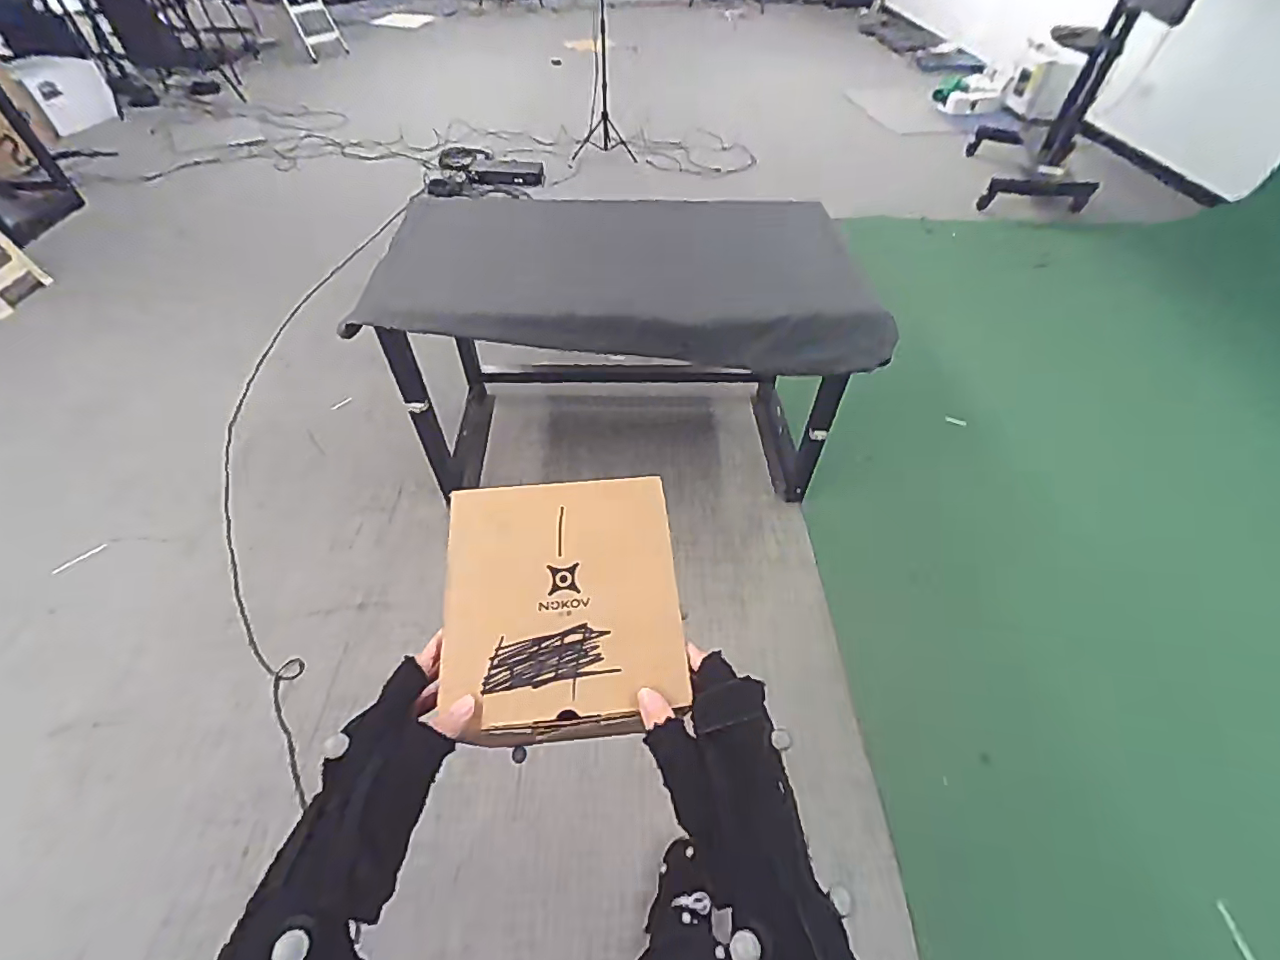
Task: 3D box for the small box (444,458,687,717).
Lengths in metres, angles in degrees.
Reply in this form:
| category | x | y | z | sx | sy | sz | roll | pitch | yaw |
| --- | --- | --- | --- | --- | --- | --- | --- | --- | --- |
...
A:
| category | x | y | z | sx | sy | sz | roll | pitch | yaw |
| --- | --- | --- | --- | --- | --- | --- | --- | --- | --- |
| small box | -0.057 | 0.101 | 0.465 | 0.168 | 0.176 | 0.179 | -4 | 62 | -5 |
